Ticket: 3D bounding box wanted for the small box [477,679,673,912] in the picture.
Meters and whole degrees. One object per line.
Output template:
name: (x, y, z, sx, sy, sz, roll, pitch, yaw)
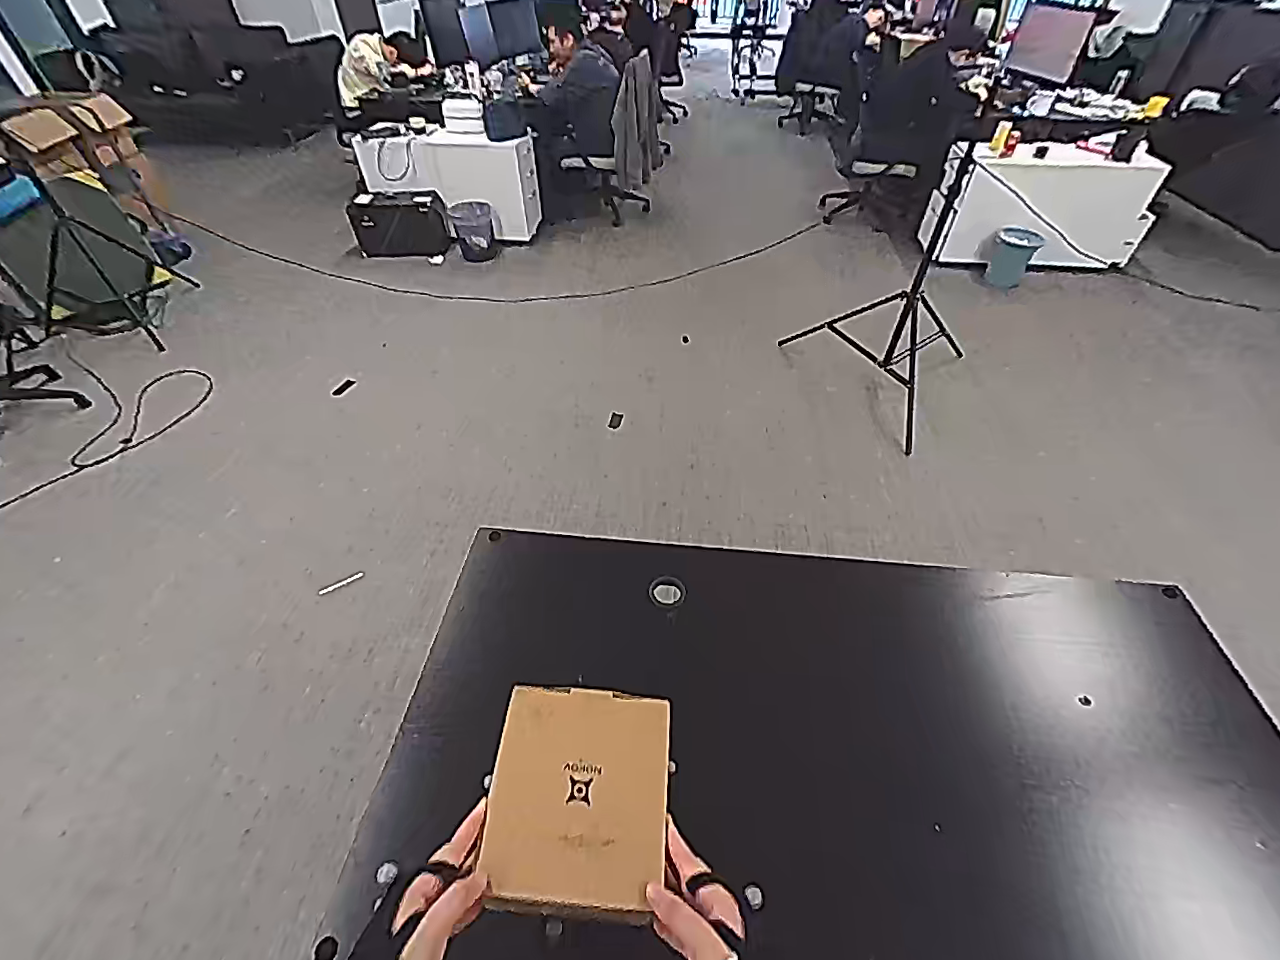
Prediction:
small box: (-0.058, 0.334, 0.570, 0.168, 0.176, 0.179, 5, 49, 0)
